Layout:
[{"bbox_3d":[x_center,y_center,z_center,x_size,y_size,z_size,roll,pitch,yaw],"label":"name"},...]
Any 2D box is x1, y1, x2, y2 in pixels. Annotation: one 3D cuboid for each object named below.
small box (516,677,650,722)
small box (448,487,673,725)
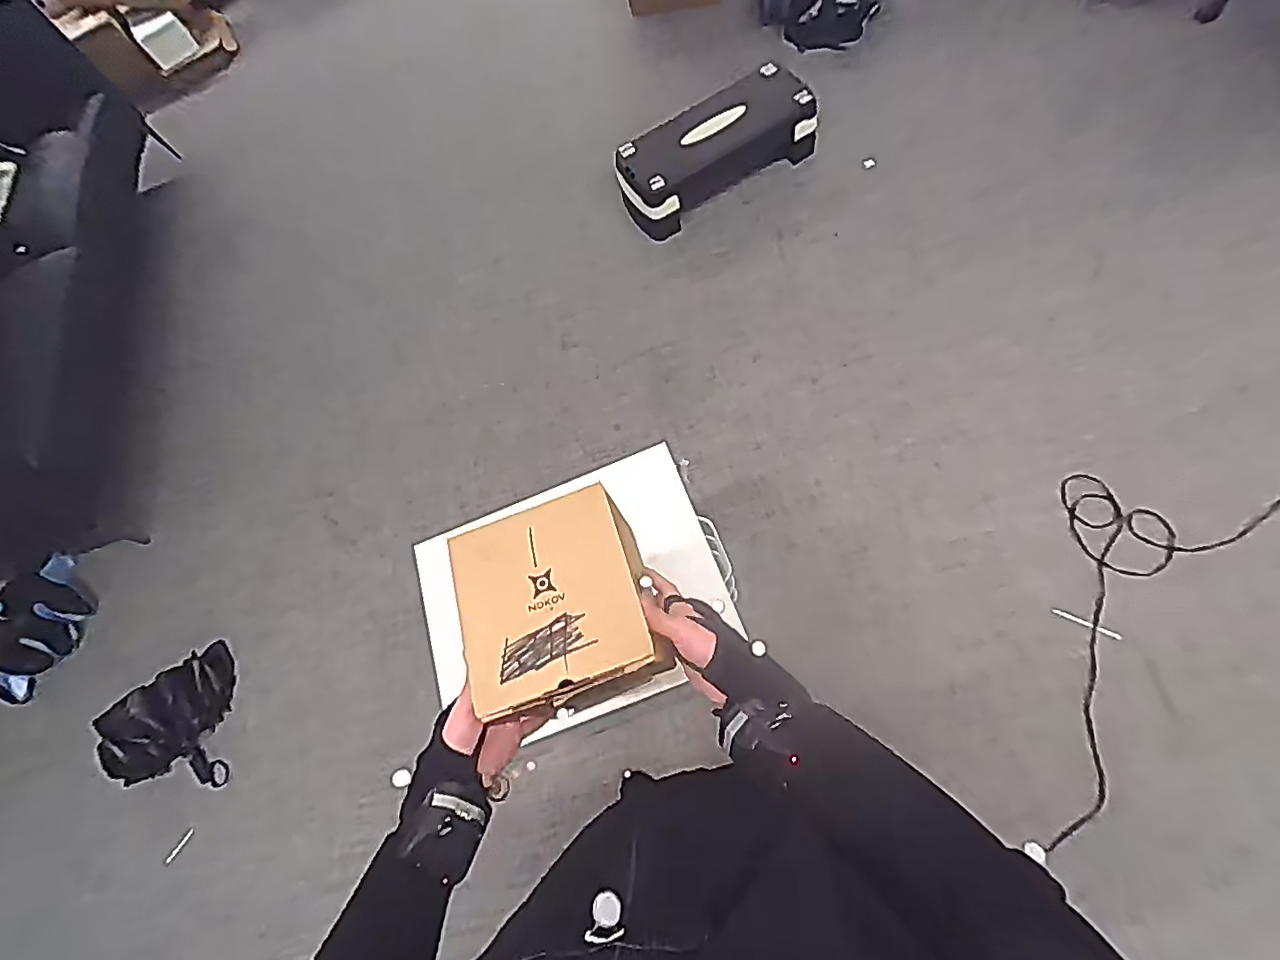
[{"bbox_3d":[-0.100,0.243,0.801,0.168,0.176,0.179,-25,64,1],"label":"small box"},{"bbox_3d":[-0.073,0.136,0.569,0.168,0.176,0.179,-21,66,1],"label":"small box"}]
